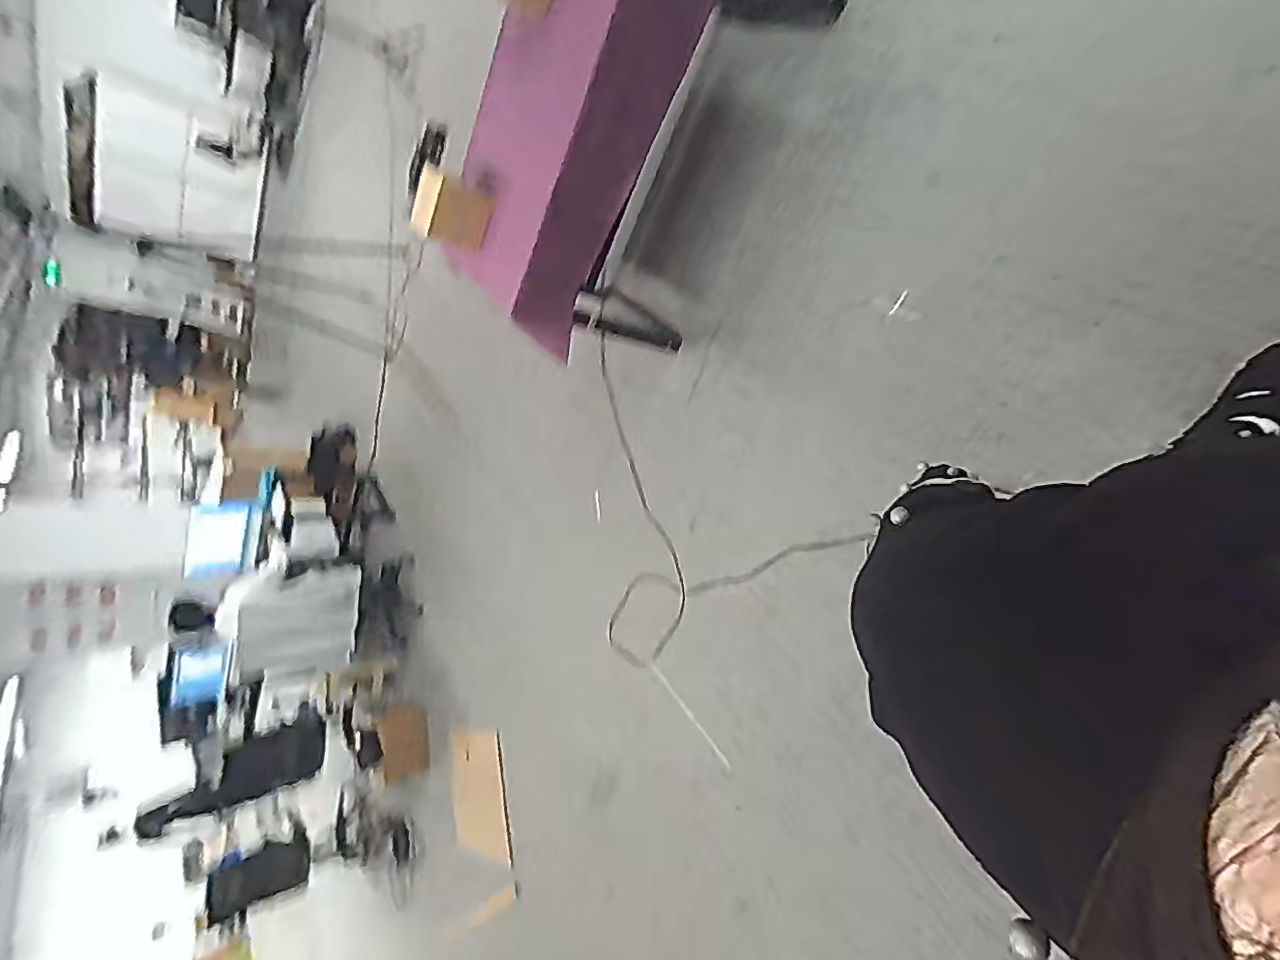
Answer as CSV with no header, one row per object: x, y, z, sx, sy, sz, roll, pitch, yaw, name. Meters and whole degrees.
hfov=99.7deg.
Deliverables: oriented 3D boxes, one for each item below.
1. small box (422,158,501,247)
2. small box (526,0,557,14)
-0.557,-0.866,1.697,0.168,0.176,0.179,49,121,36,small box
-0.297,-1.399,1.445,0.179,0.176,0.168,54,124,32,small box
